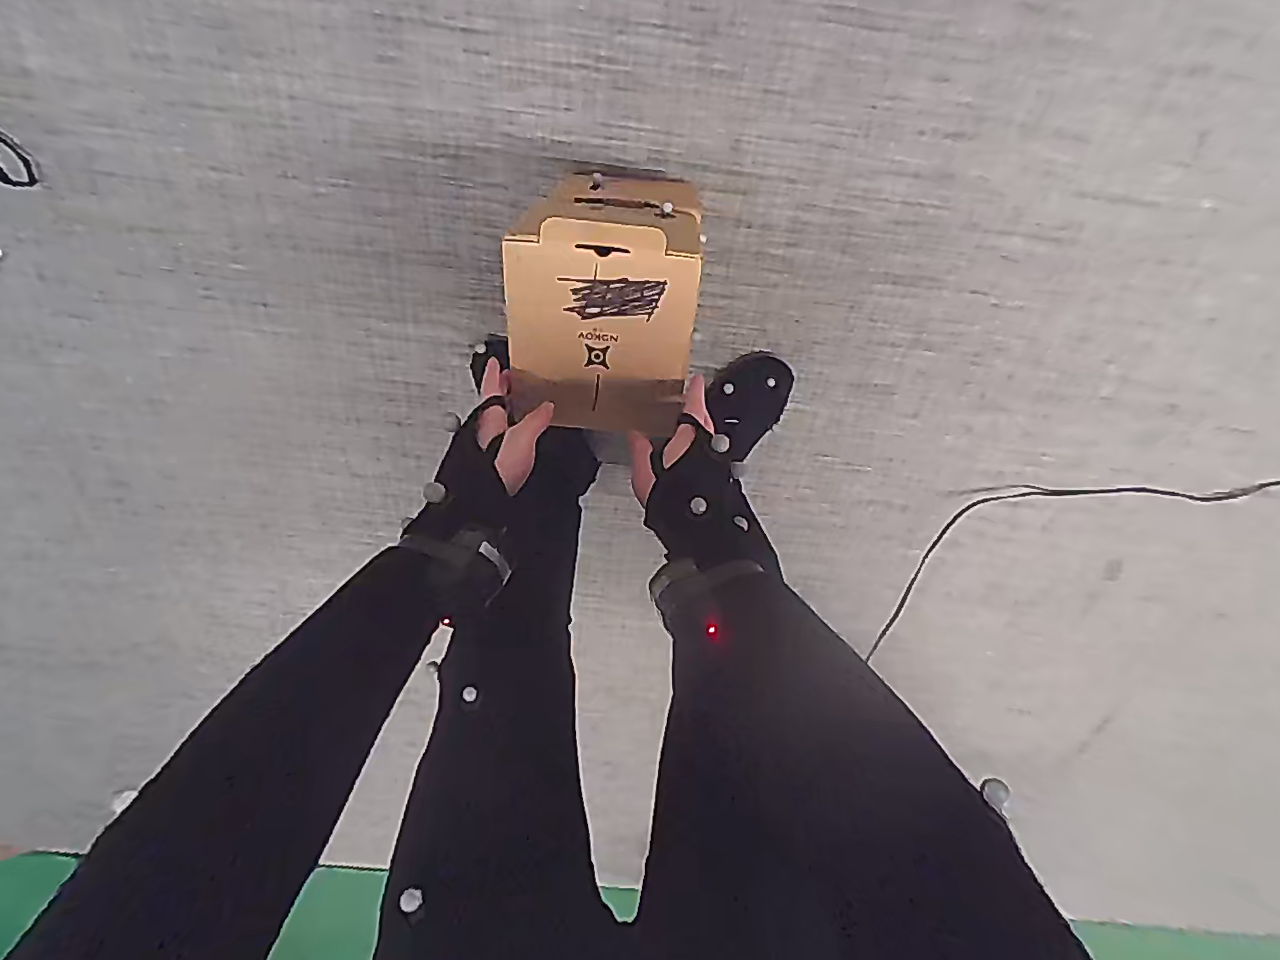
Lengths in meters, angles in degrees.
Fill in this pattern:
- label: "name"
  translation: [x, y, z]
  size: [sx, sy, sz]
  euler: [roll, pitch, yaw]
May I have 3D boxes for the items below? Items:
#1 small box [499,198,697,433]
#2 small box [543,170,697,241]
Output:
- label: "small box"
  translation: [-0.040, -0.173, 0.551]
  size: [0.168, 0.176, 0.179]
  euler: [6, 128, -1]
- label: "small box"
  translation: [-0.026, -0.275, 0.679]
  size: [0.168, 0.176, 0.179]
  euler: [6, 129, -1]
